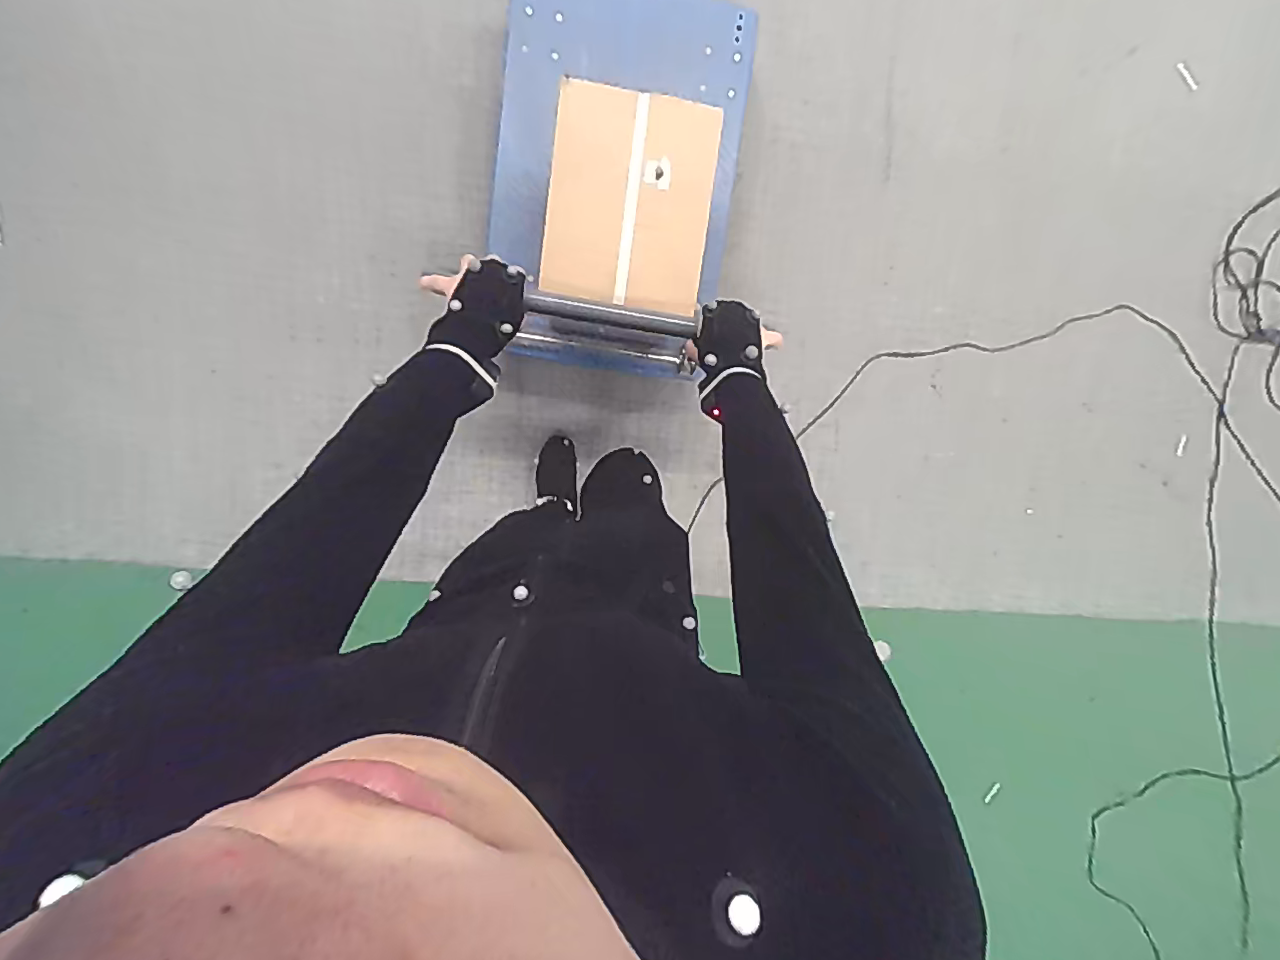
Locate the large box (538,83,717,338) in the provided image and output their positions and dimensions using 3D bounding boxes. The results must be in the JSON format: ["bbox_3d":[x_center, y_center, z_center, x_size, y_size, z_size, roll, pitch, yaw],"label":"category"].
[{"bbox_3d":[-0.039,-0.549,1.193,0.320,0.320,0.408,7,97,-7],"label":"large box"}]
